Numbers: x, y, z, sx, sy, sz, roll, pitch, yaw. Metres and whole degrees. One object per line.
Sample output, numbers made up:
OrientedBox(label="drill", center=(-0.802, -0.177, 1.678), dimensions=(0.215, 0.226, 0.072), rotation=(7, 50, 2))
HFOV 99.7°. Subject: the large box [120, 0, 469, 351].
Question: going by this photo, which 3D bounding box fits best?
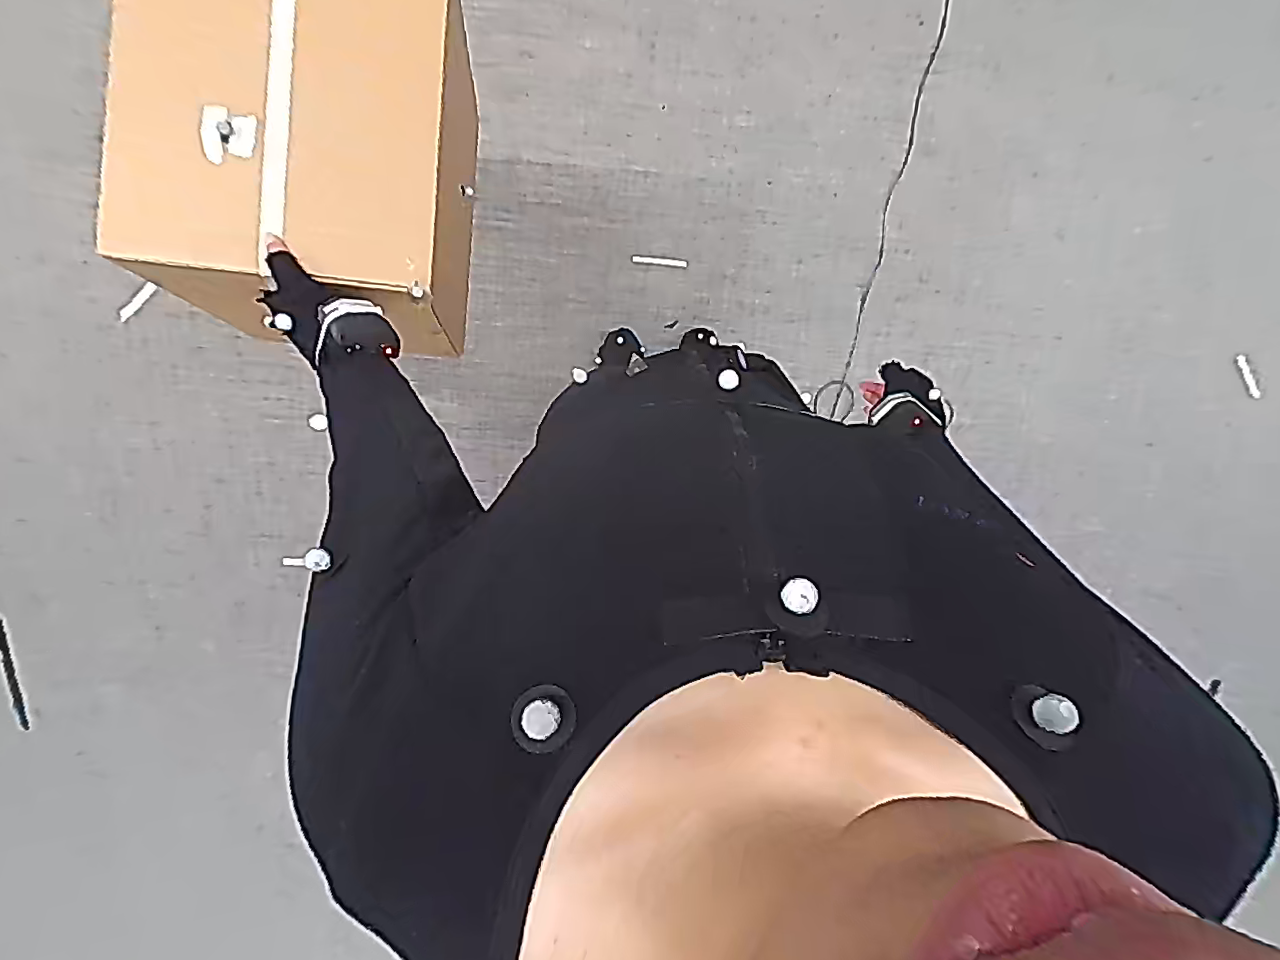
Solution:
OrientedBox(label="large box", center=(-0.409, -0.417, 0.730), dimensions=(0.320, 0.320, 0.408), rotation=(3, 91, -10))
